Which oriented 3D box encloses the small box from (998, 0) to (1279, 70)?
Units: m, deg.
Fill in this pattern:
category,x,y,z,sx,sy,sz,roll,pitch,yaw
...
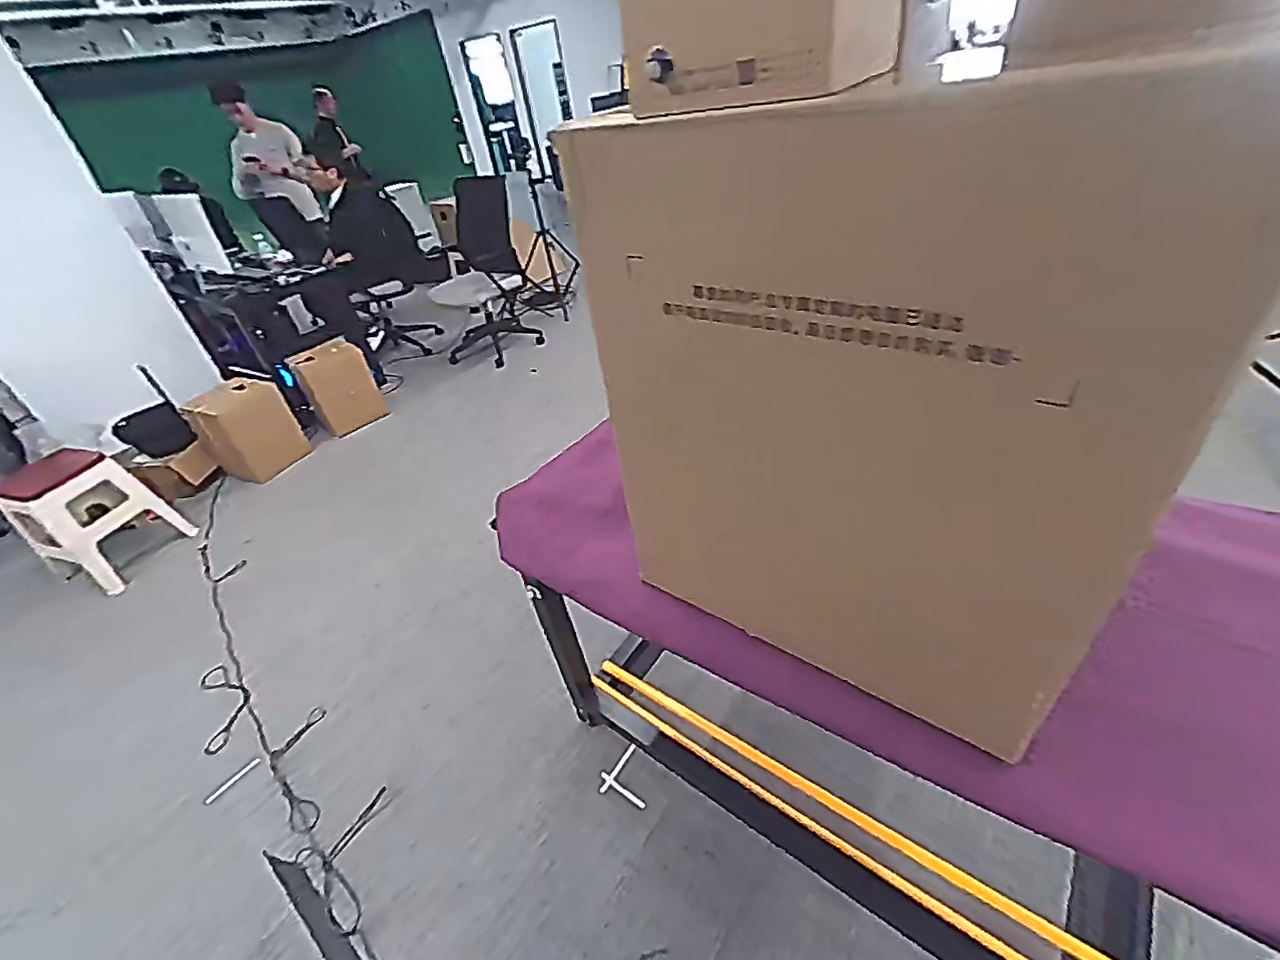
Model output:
category,x,y,z,sx,sy,sz,roll,pitch,yaw
small box,0.398,-0.433,0.405,0.179,0.176,0.168,14,43,32
